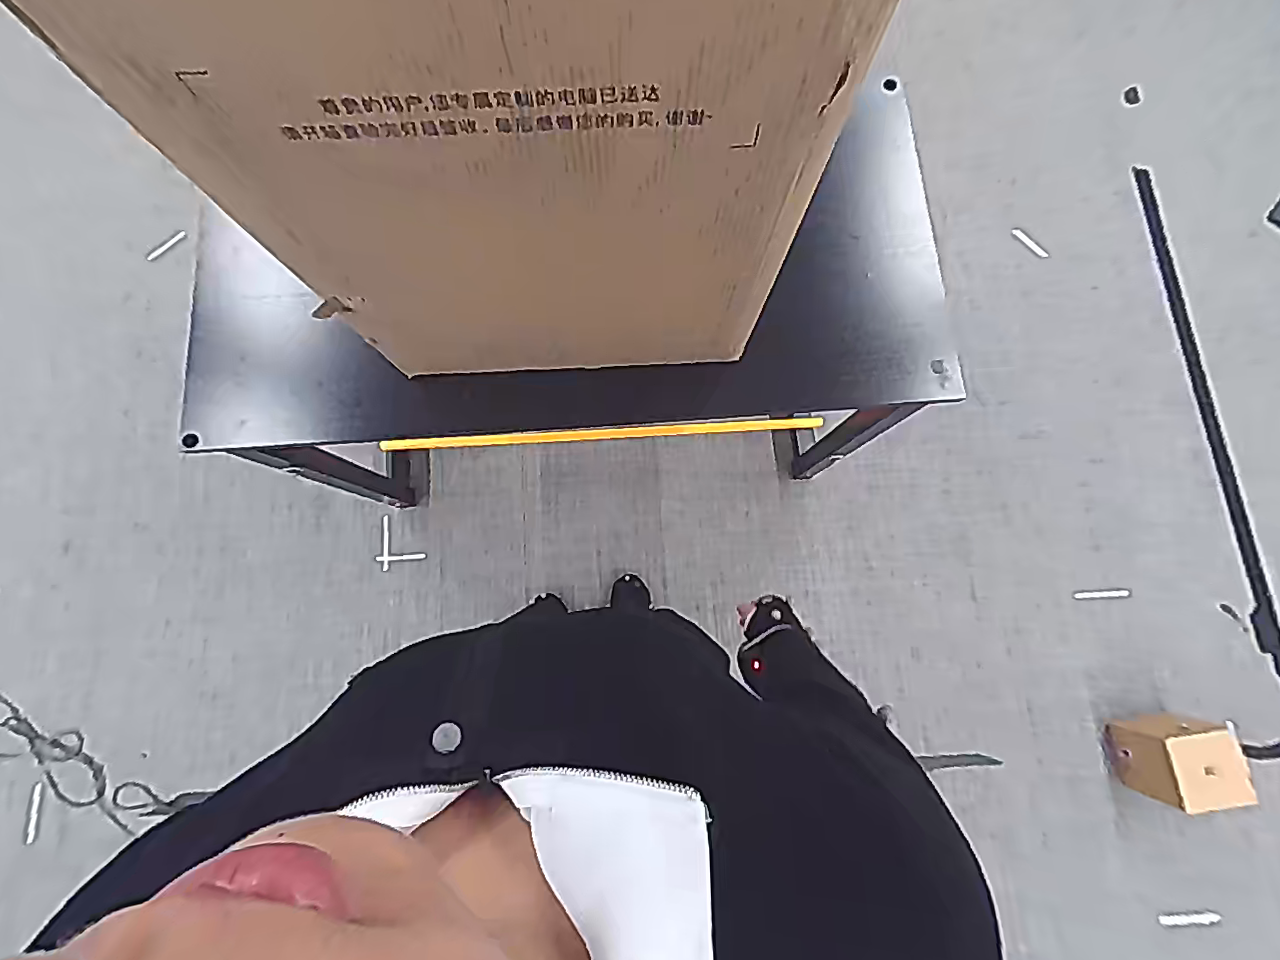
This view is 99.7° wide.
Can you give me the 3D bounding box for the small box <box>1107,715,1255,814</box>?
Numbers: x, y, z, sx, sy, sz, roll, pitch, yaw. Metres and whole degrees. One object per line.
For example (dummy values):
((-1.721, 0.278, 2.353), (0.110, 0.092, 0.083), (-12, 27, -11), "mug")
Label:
((1.333, 0.698, 1.345), (0.179, 0.176, 0.168), (-8, 79, -1), "small box")
